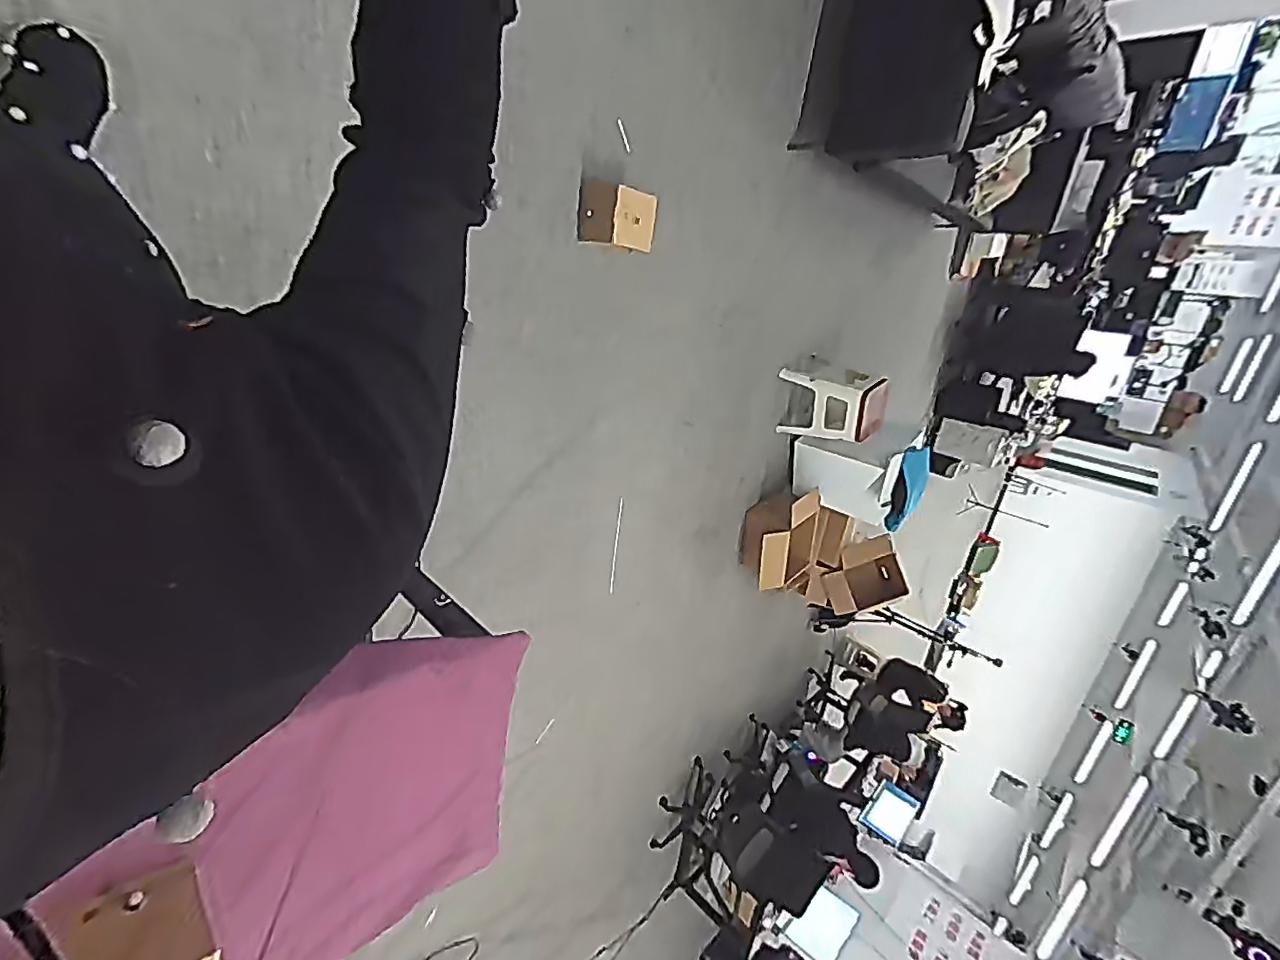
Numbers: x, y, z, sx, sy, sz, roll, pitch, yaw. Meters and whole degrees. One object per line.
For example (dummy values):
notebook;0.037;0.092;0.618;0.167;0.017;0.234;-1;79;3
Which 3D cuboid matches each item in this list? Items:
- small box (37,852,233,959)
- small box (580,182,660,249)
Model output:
small box;-0.640;0.636;0.689;0.168;0.176;0.179;-5;113;-48
small box;-0.065;-0.847;1.734;0.179;0.176;0.168;-11;117;-45
